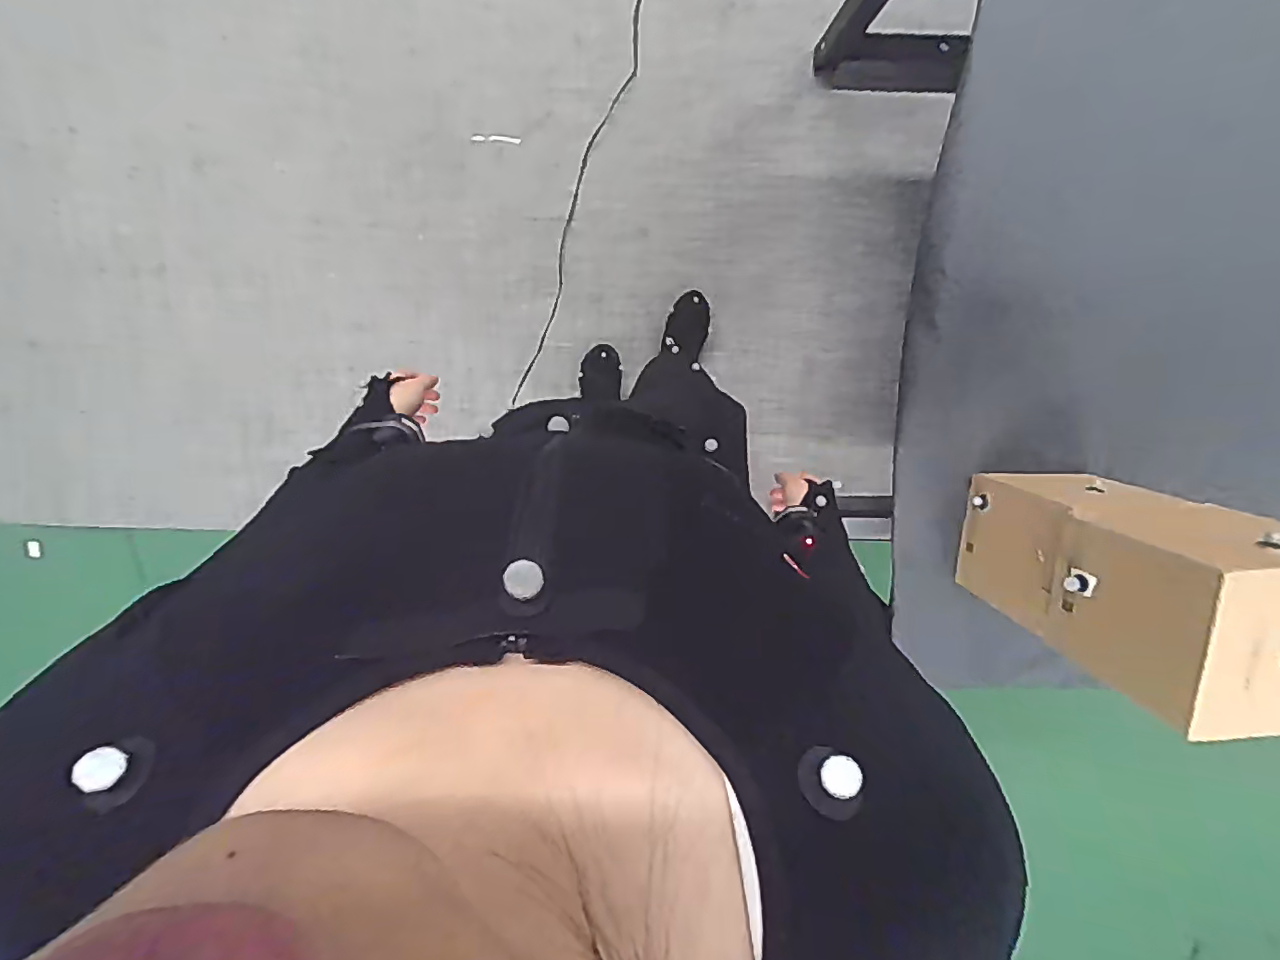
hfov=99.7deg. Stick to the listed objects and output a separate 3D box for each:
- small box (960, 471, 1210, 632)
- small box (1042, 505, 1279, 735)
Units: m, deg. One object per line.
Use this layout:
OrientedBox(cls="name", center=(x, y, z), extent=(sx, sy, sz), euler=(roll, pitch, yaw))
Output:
OrientedBox(cls="small box", center=(0.556, 0.087, 0.704), extent=(0.179, 0.176, 0.168), euler=(0, 104, -5))
OrientedBox(cls="small box", center=(0.562, 0.126, 0.546), extent=(0.179, 0.176, 0.168), euler=(-3, 103, -2))
